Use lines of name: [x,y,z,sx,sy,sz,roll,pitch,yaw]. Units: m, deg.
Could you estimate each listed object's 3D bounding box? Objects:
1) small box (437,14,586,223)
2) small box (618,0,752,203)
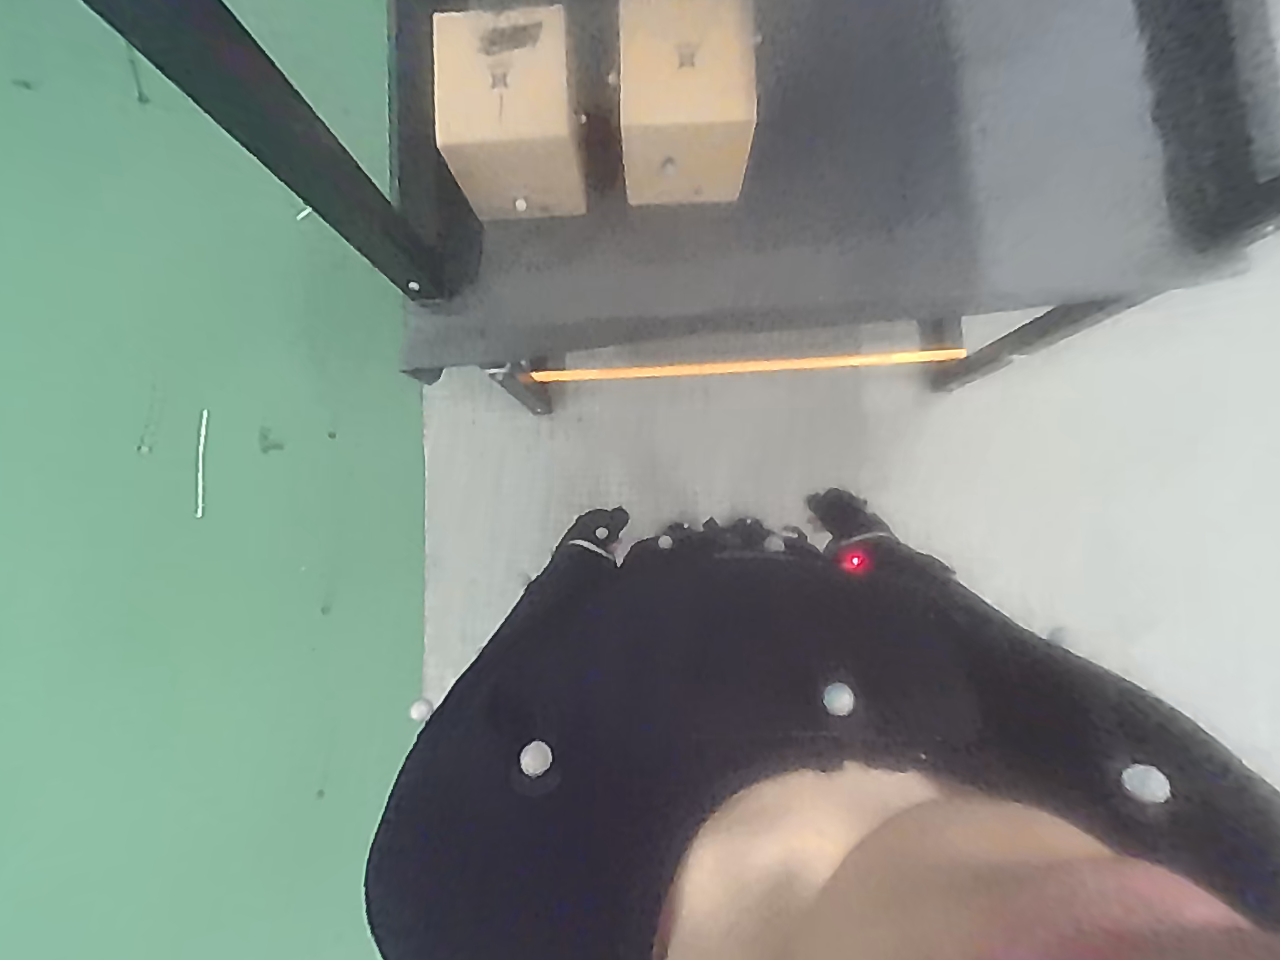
small box: [-0.168,-0.488,0.751,0.168,0.176,0.179,-3,85,2]
small box: [0.058,-0.506,0.746,0.168,0.176,0.179,-2,84,2]
